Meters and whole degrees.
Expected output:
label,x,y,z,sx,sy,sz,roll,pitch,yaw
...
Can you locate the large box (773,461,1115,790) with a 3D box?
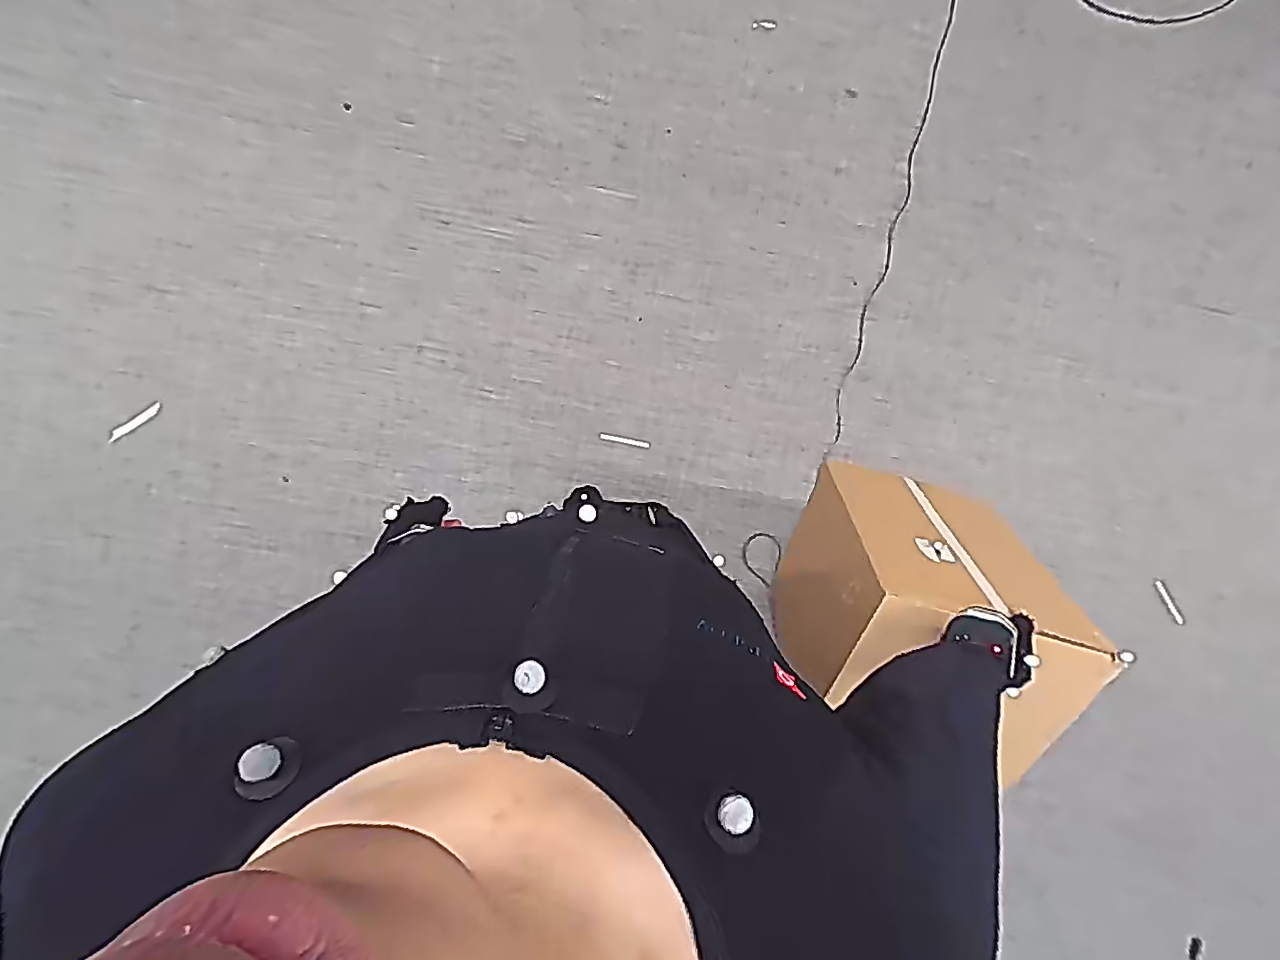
label,x,y,z,sx,sy,sz,roll,pitch,yaw
large box,0.444,0.221,0.927,0.320,0.408,0.320,15,119,0
